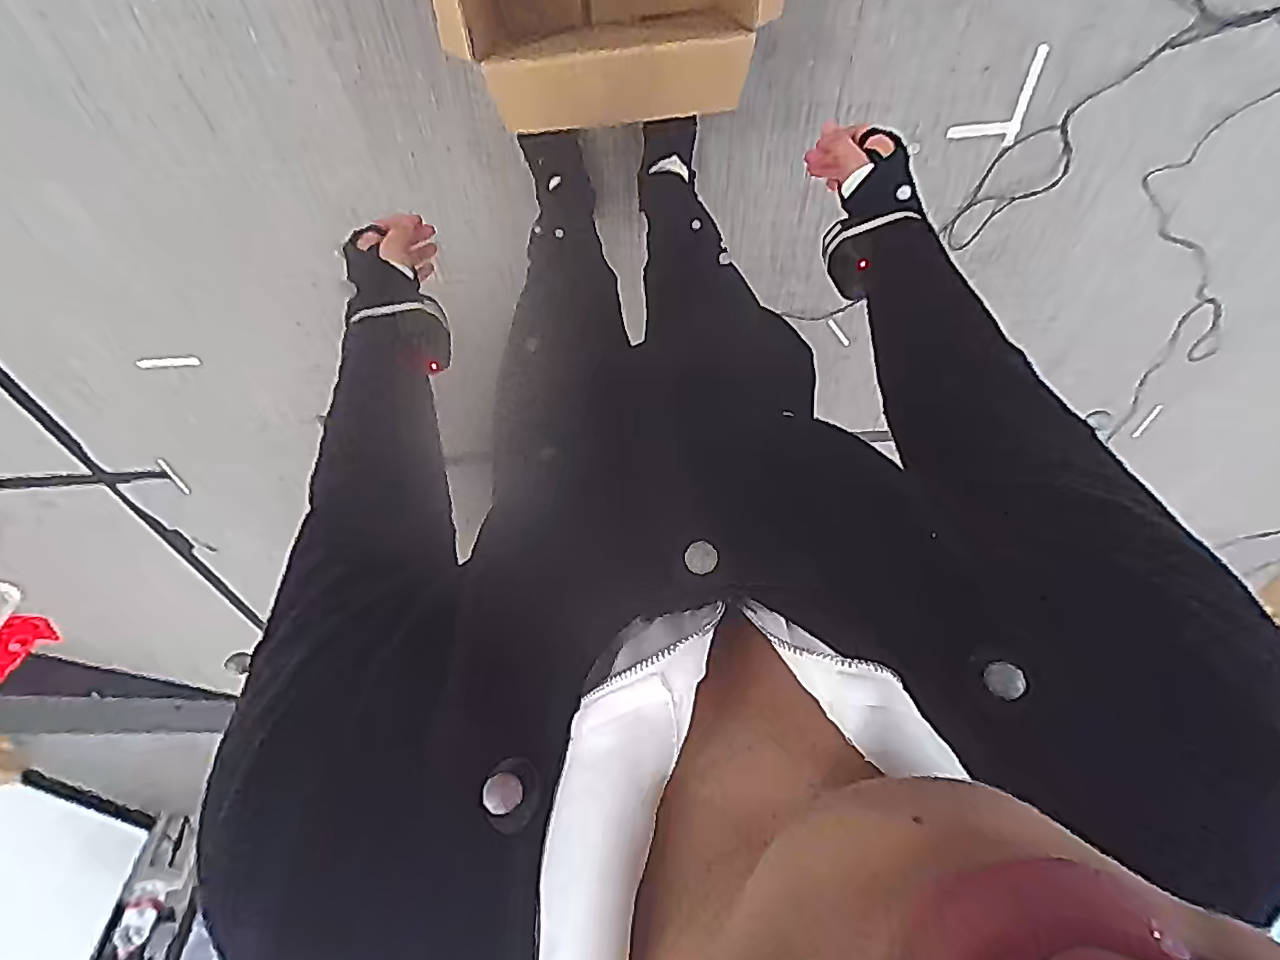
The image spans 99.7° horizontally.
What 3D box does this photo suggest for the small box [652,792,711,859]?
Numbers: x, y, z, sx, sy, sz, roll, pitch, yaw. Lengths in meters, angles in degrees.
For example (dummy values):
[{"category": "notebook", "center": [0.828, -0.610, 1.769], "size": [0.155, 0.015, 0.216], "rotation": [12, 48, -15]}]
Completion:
[{"category": "small box", "center": [0.143, 1.226, 1.924], "size": [0.179, 0.176, 0.168], "rotation": [-4, 136, -4]}]
